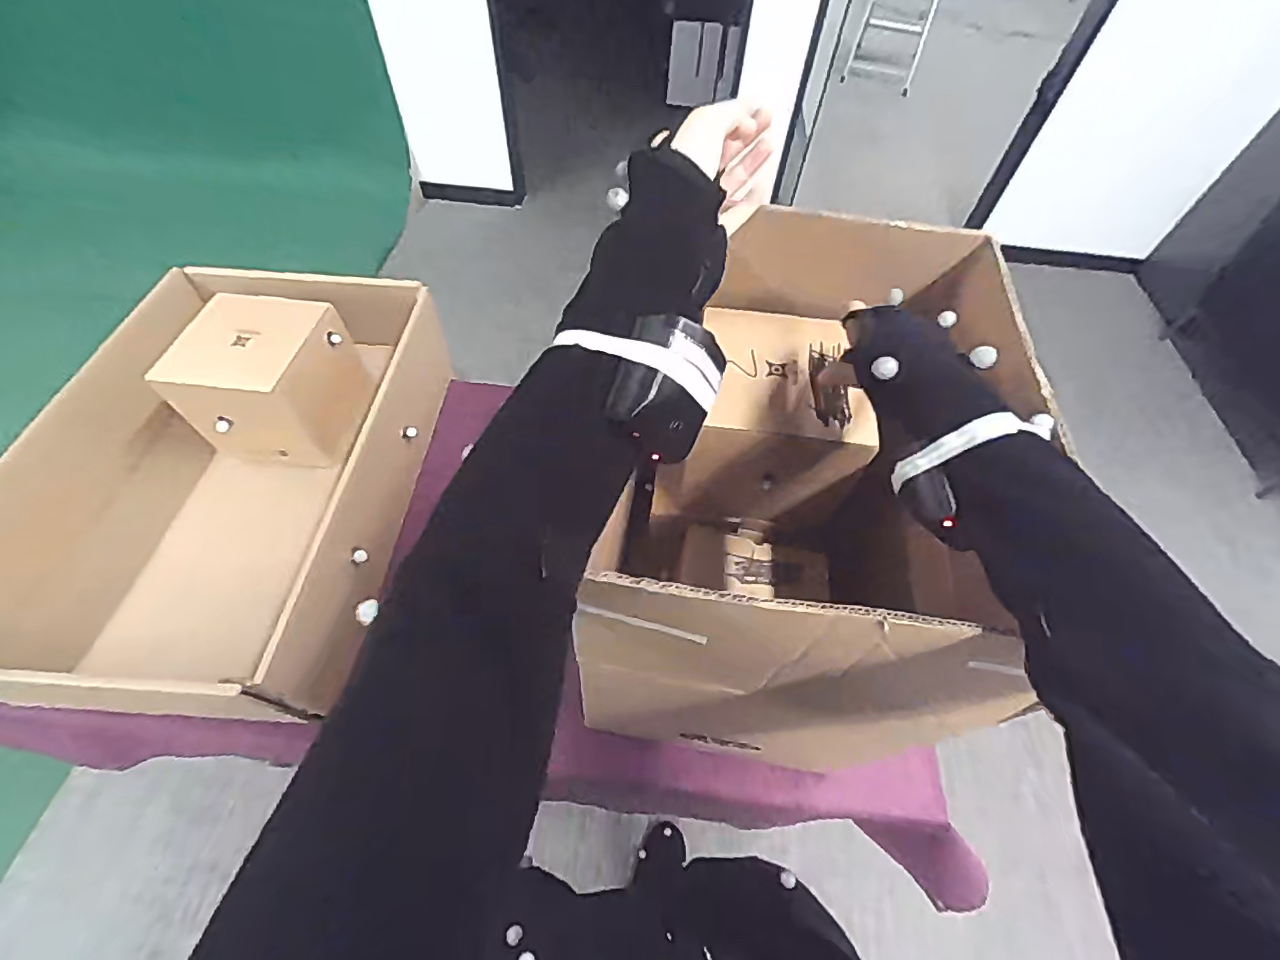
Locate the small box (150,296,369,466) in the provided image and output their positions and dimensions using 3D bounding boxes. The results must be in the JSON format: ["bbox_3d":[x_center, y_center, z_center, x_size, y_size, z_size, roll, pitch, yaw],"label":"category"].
[{"bbox_3d":[-0.525,-0.138,0.783,0.168,0.176,0.179,6,56,2],"label":"small box"}]
